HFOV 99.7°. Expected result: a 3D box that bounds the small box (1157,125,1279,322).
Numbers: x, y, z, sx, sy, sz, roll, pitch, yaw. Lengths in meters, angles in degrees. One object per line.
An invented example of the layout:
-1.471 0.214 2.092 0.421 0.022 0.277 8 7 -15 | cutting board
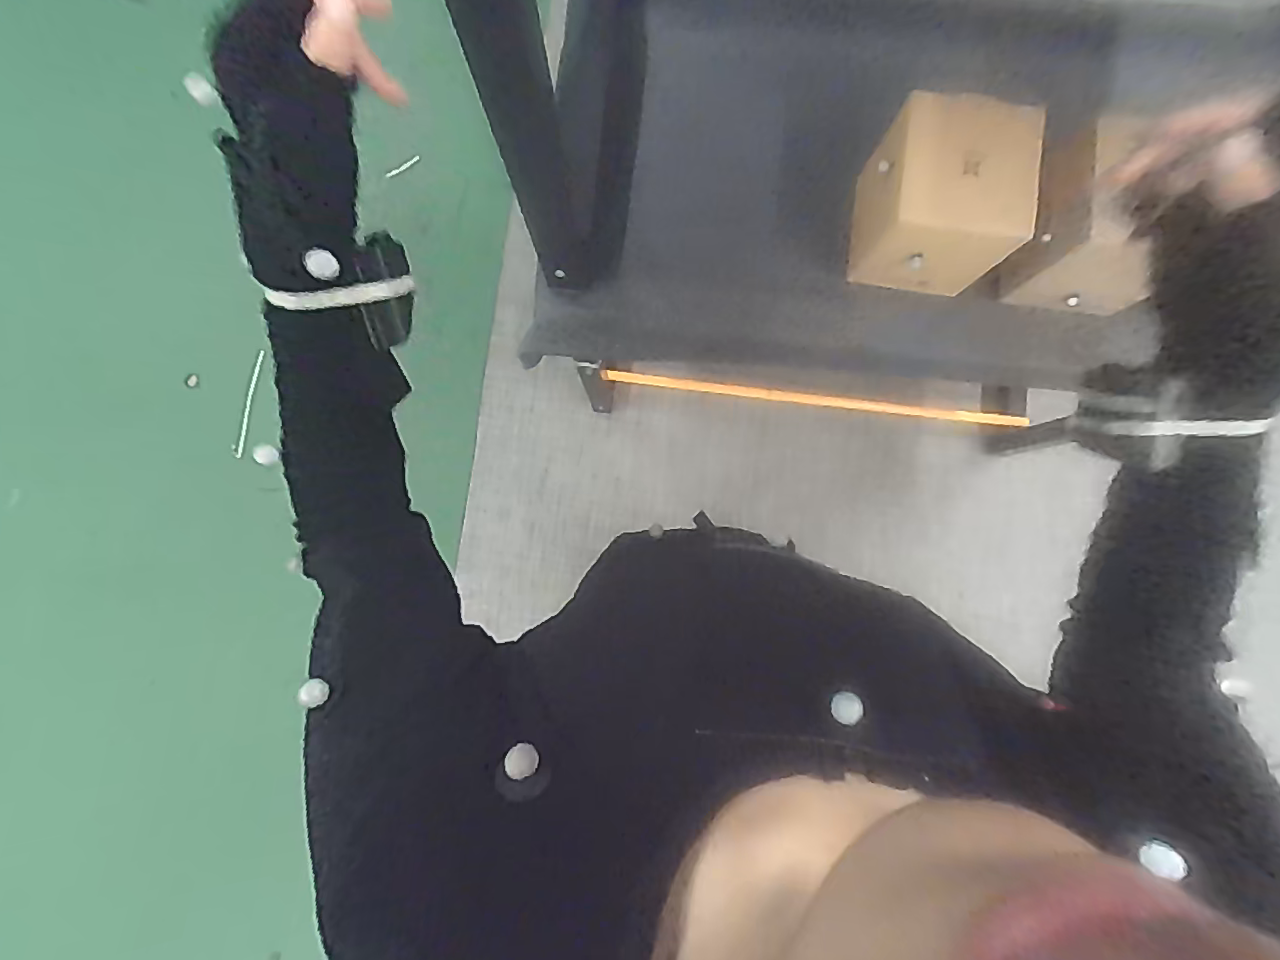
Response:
0.854 -0.333 0.727 0.168 0.176 0.179 10 83 1 | small box

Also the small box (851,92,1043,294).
0.403 -0.376 0.738 0.168 0.176 0.179 9 83 2 | small box
